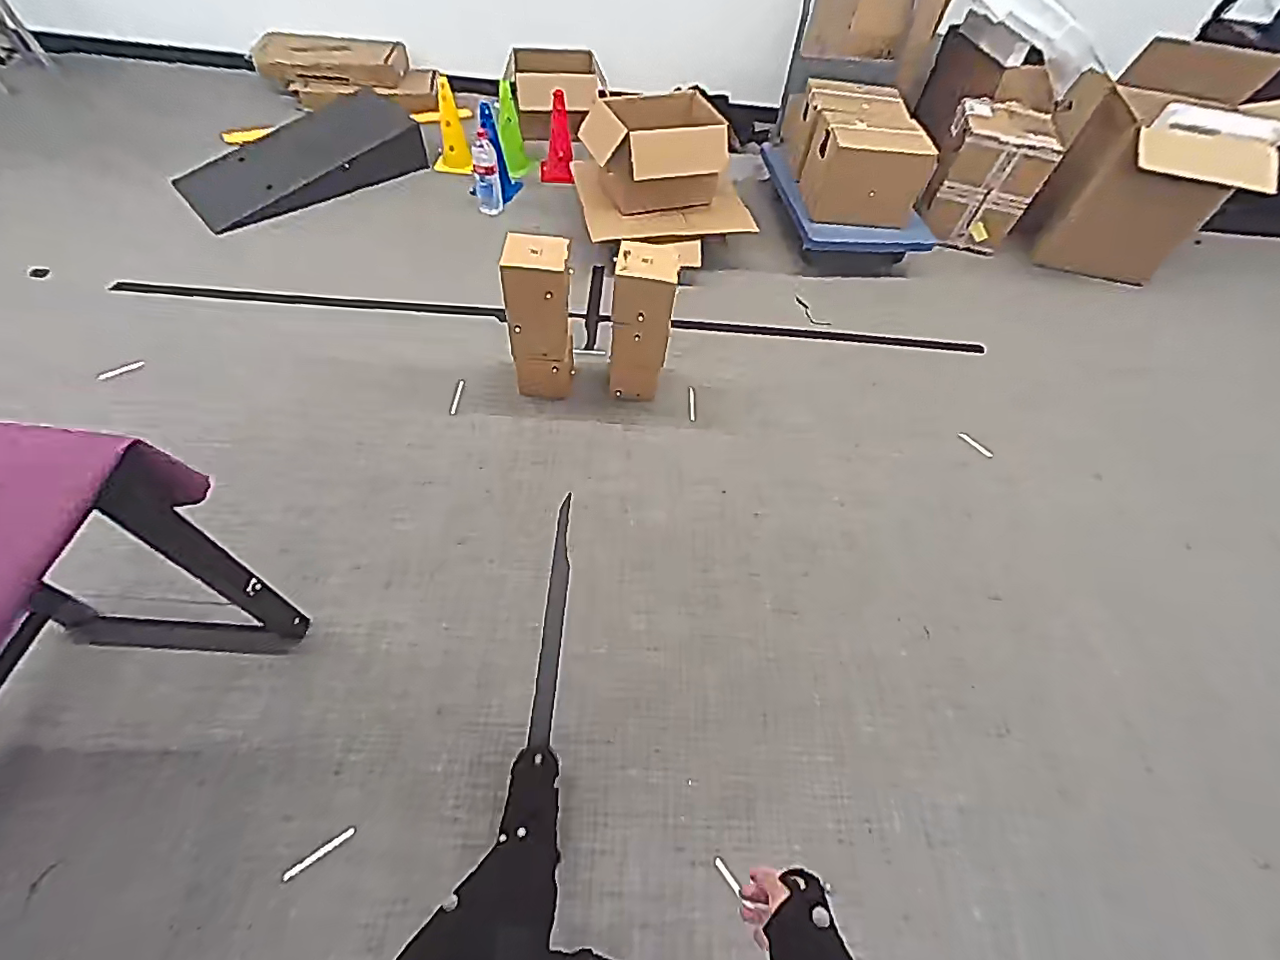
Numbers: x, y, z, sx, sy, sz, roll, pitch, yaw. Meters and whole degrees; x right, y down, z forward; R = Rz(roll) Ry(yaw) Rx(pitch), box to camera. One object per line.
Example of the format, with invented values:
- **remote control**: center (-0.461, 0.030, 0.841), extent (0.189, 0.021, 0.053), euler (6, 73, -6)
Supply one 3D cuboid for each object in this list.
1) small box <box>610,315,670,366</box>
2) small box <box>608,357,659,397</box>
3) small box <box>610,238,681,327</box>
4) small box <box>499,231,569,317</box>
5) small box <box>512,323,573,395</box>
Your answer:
- **small box**: center (-0.001, -0.482, 1.713), extent (0.179, 0.176, 0.168), euler (6, 57, -3)
- **small box**: center (-0.021, -0.406, 1.859), extent (0.168, 0.176, 0.179), euler (4, 55, -5)
- **small box**: center (0.014, -0.570, 1.576), extent (0.179, 0.176, 0.168), euler (9, 56, -2)
- **small box**: center (-0.298, -0.588, 1.555), extent (0.179, 0.176, 0.168), euler (3, 54, -4)
- **small box**: center (-0.324, -0.407, 1.827), extent (0.179, 0.176, 0.168), euler (5, 56, -4)
